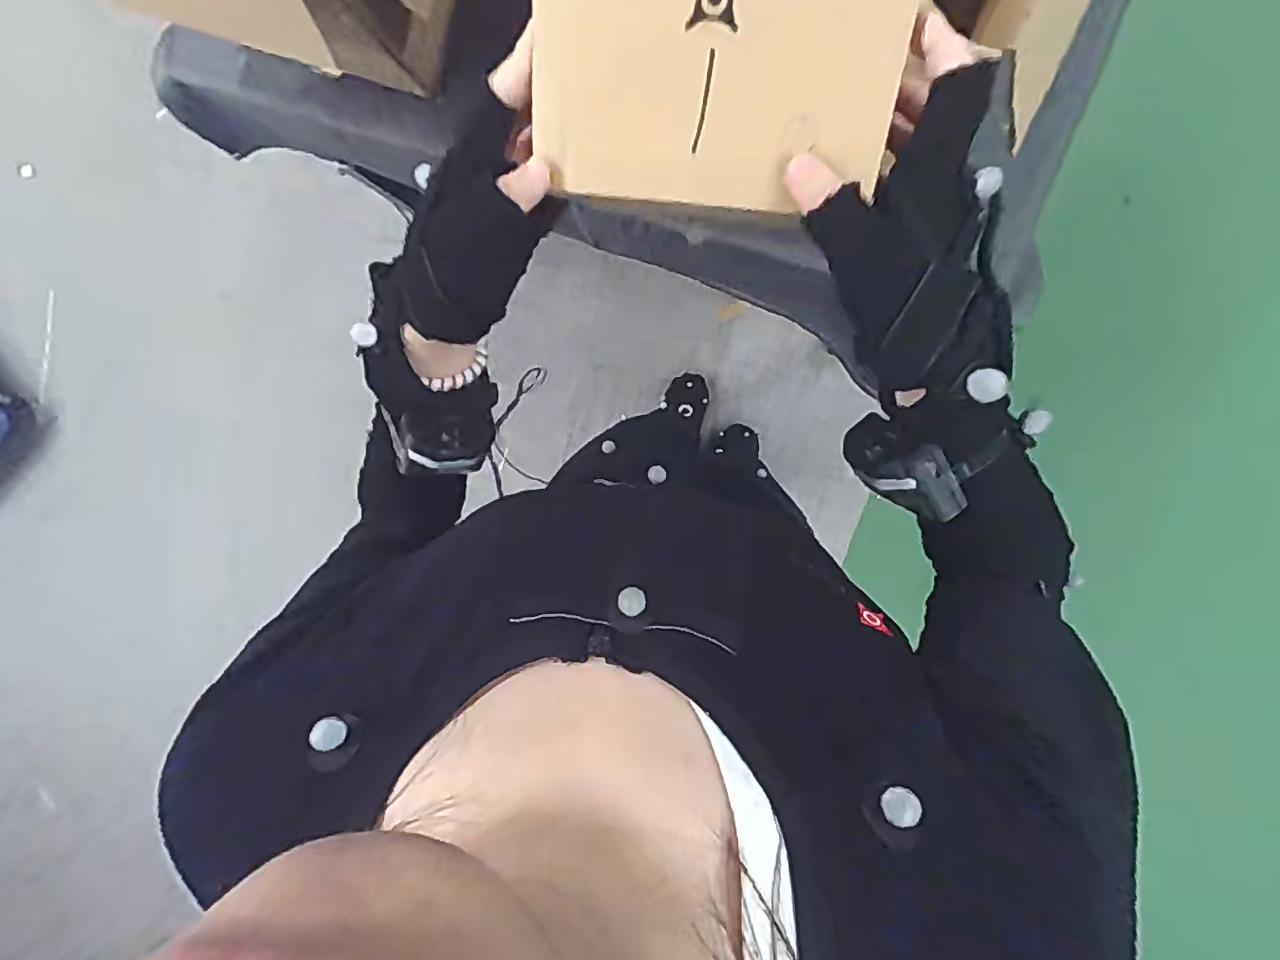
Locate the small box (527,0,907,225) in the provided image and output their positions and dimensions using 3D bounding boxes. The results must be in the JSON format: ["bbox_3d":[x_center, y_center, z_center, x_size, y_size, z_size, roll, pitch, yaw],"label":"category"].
[{"bbox_3d":[0.044,-0.251,0.305,0.168,0.176,0.179,9,115,5],"label":"small box"}]
